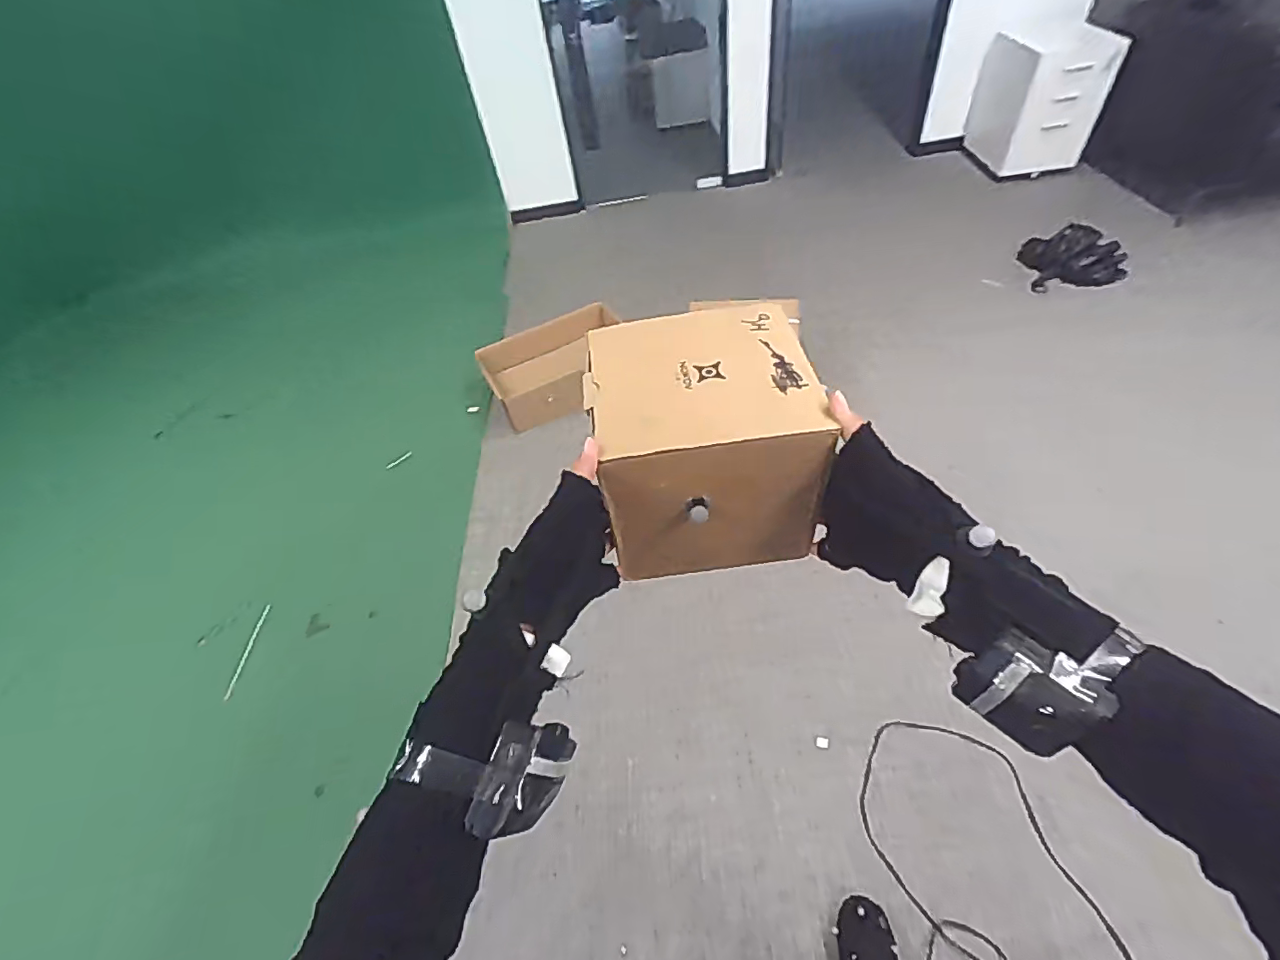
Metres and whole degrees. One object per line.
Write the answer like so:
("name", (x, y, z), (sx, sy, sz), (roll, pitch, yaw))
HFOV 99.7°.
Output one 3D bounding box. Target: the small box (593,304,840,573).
("small box", (0.060, -0.031, 0.490), (0.179, 0.176, 0.168), (-8, 49, 2))
